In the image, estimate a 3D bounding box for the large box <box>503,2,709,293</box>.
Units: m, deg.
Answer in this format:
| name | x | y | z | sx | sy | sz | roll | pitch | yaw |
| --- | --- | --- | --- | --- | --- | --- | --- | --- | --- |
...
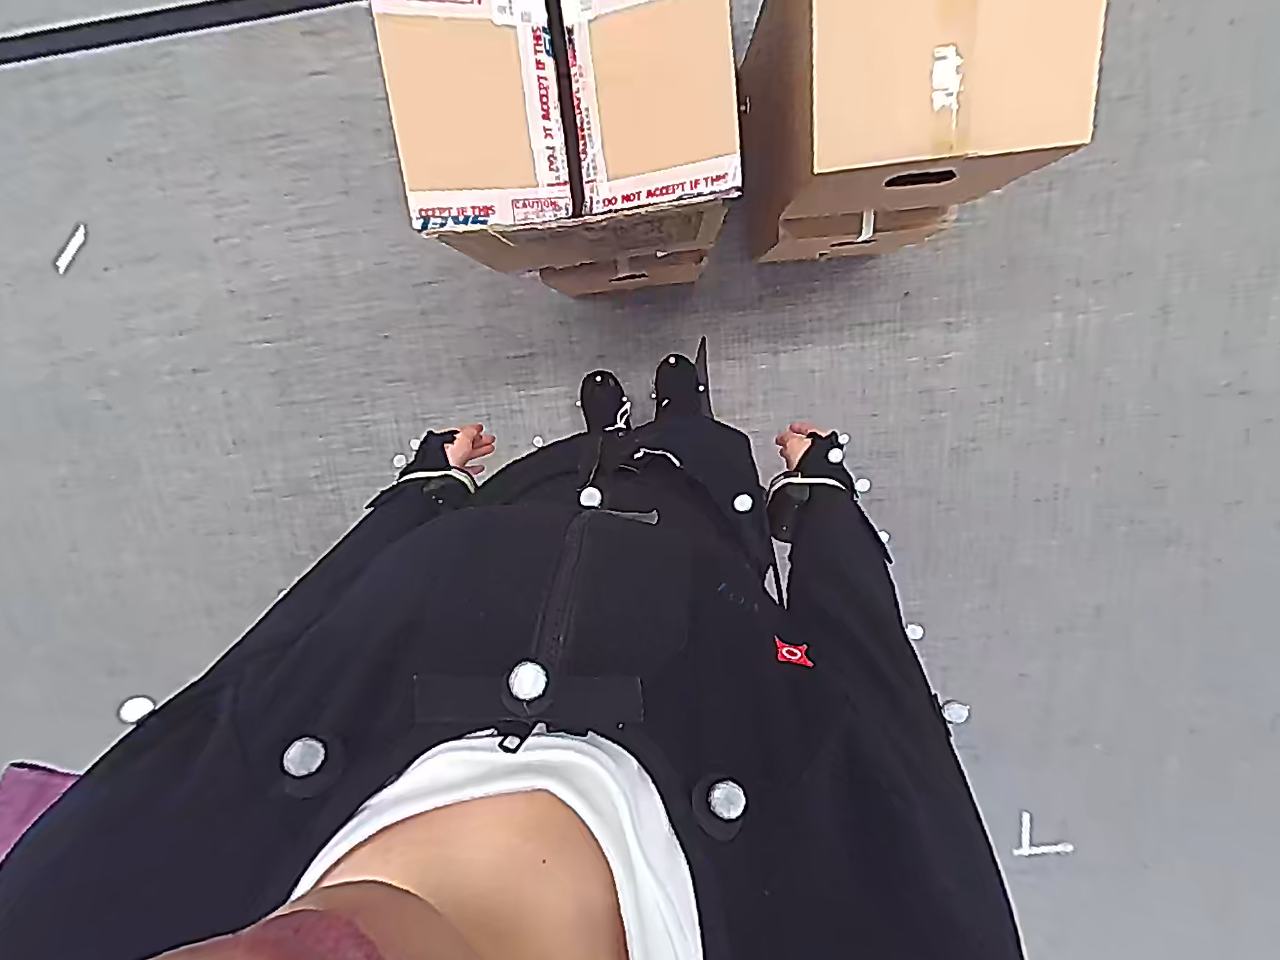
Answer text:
| name | x | y | z | sx | sy | sz | roll | pitch | yaw |
| --- | --- | --- | --- | --- | --- | --- | --- | --- | --- |
| large box | -0.048 | -0.612 | 1.082 | 0.320 | 0.320 | 0.408 | -6 | 104 | 5 |
